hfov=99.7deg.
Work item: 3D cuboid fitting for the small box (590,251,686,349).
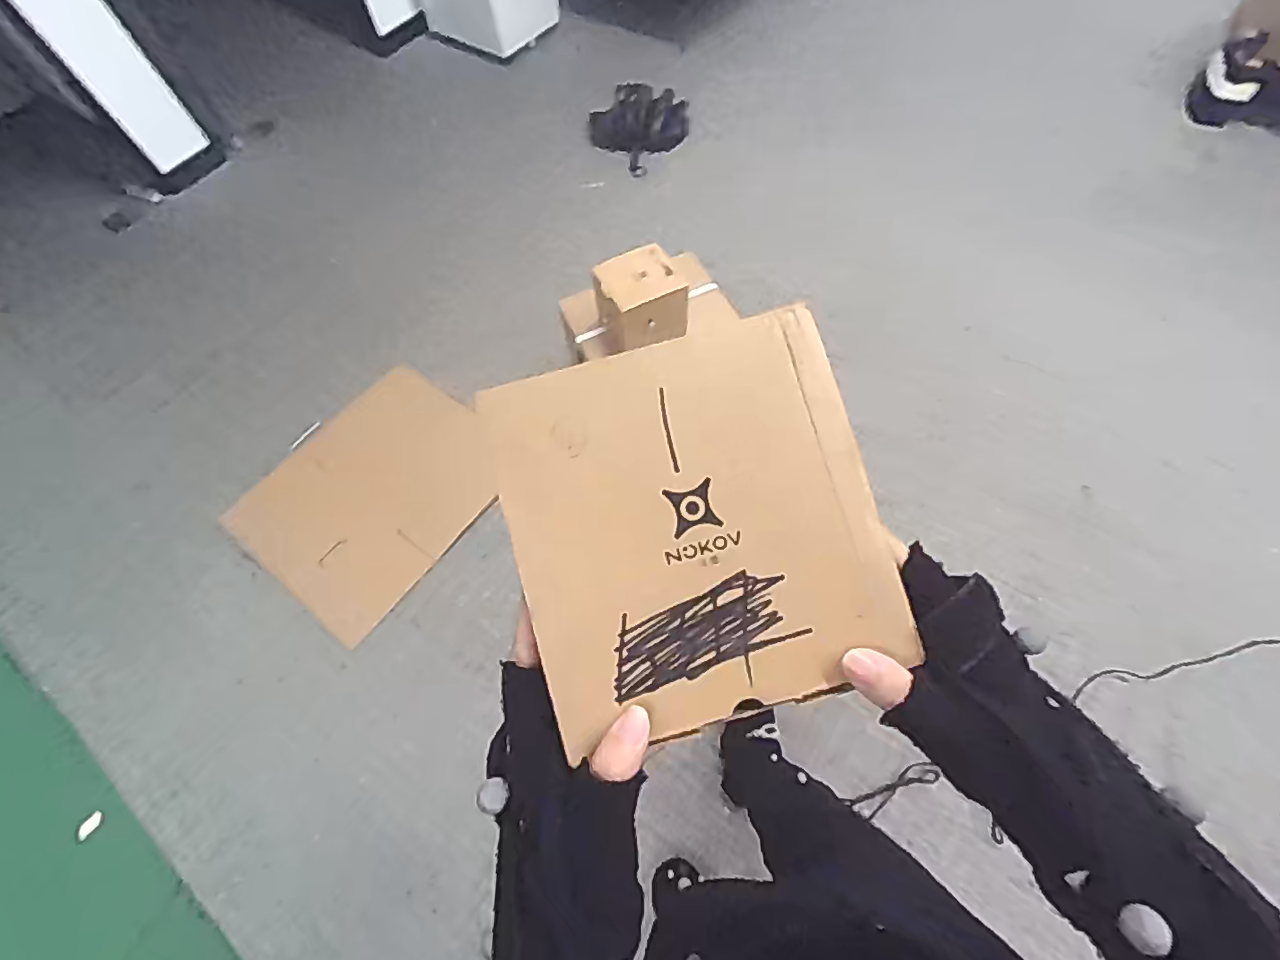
[{"bbox_3d":[0.001,-0.418,1.329,0.179,0.176,0.168,-29,63,-11],"label":"small box"}]

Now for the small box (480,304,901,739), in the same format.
[{"bbox_3d":[0.023,0.024,0.335,0.168,0.176,0.179,-16,84,-2],"label":"small box"}]
